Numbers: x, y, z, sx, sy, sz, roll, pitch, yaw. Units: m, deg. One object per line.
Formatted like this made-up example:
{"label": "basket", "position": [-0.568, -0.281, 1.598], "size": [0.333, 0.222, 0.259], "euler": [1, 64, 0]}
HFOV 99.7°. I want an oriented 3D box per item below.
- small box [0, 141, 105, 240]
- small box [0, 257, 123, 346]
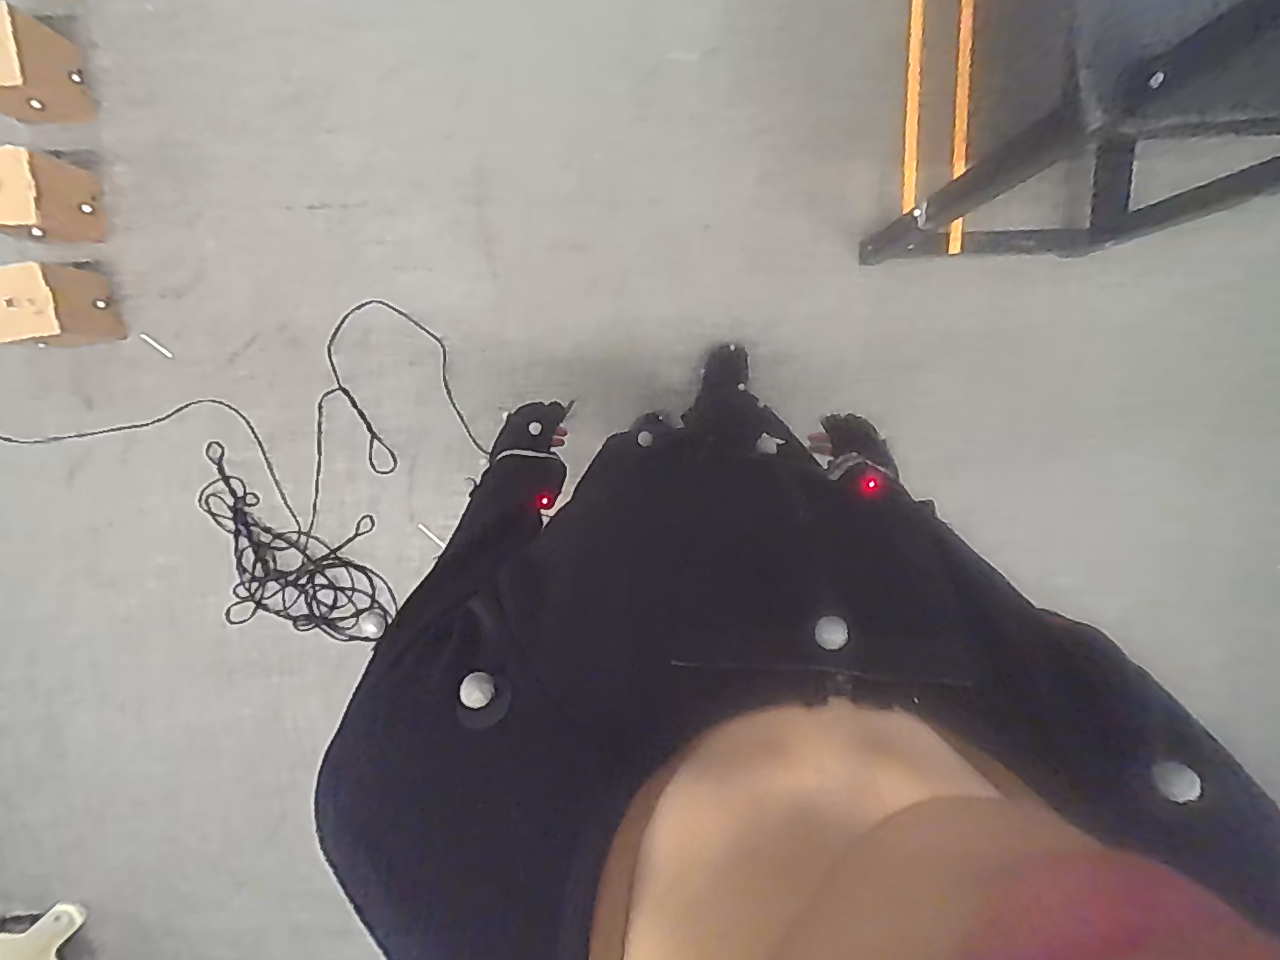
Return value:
{"label": "small box", "position": [-1.439, -0.676, 1.280], "size": [0.179, 0.176, 0.168], "euler": [-1, 99, -1]}
{"label": "small box", "position": [-1.438, -0.426, 1.316], "size": [0.179, 0.176, 0.168], "euler": [-9, 100, 1]}
